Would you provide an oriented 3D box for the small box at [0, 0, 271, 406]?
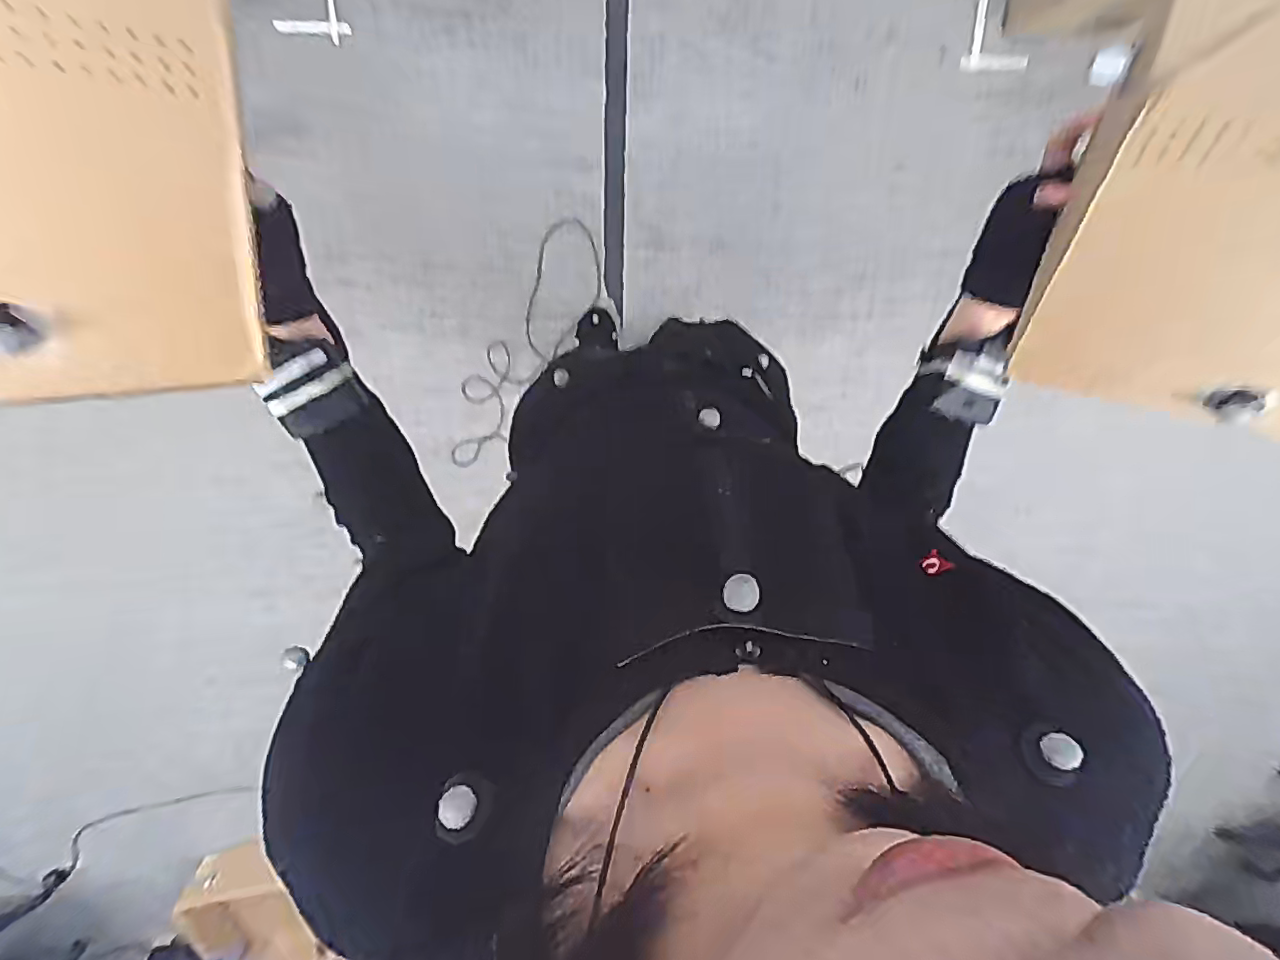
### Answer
[{"bbox_3d":[-0.268,-0.146,0.205,0.179,0.168,0.176,-14,146,-38],"label":"small box"}]

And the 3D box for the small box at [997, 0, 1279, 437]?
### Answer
[{"bbox_3d":[0.305,-0.146,0.253,0.179,0.168,0.176,-59,152,-19],"label":"small box"}]
